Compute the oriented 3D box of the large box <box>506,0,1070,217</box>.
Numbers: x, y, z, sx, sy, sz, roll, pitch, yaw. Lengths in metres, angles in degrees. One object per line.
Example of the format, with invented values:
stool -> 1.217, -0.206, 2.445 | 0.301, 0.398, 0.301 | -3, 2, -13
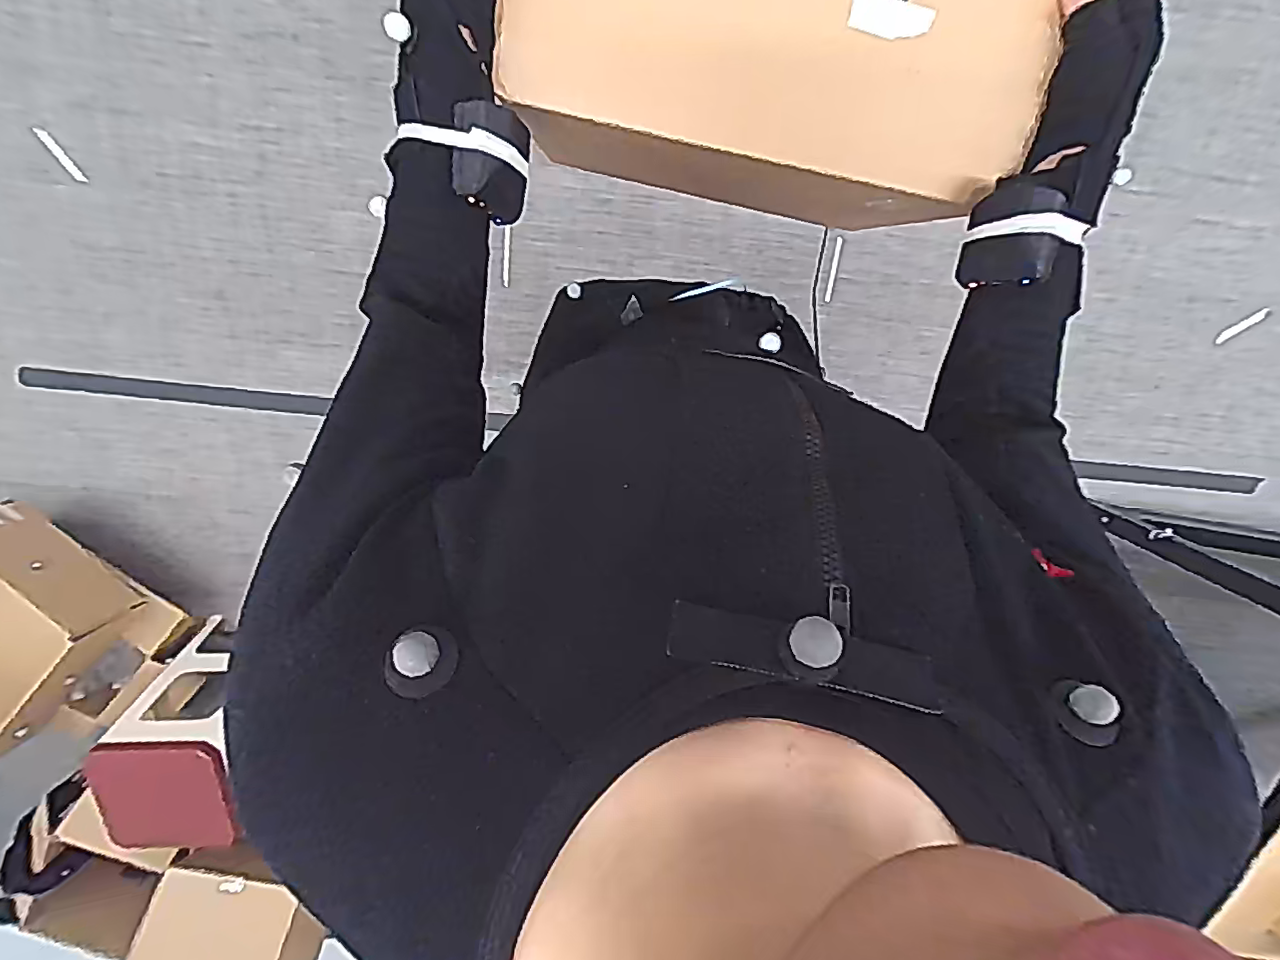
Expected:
large box -> 0.113, -0.454, 0.499 | 0.408, 0.320, 0.320 | 9, 113, -6
